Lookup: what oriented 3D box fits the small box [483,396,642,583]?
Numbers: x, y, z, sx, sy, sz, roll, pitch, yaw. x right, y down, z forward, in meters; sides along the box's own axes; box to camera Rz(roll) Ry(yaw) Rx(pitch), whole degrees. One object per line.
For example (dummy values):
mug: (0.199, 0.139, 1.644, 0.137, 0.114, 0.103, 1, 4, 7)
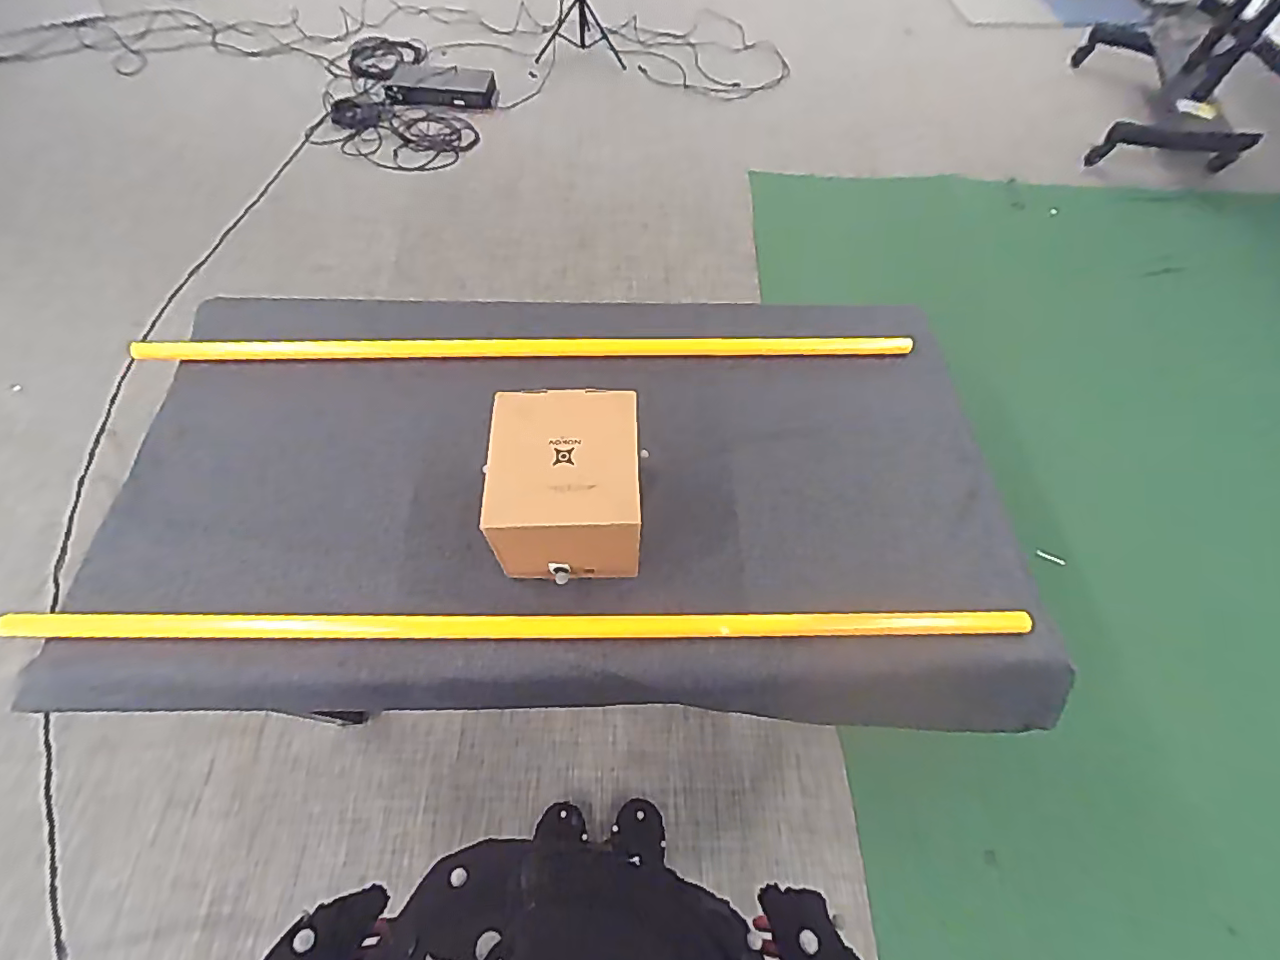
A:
small box: (-0.085, 0.016, 0.667, 0.168, 0.176, 0.179, -2, 61, -2)
